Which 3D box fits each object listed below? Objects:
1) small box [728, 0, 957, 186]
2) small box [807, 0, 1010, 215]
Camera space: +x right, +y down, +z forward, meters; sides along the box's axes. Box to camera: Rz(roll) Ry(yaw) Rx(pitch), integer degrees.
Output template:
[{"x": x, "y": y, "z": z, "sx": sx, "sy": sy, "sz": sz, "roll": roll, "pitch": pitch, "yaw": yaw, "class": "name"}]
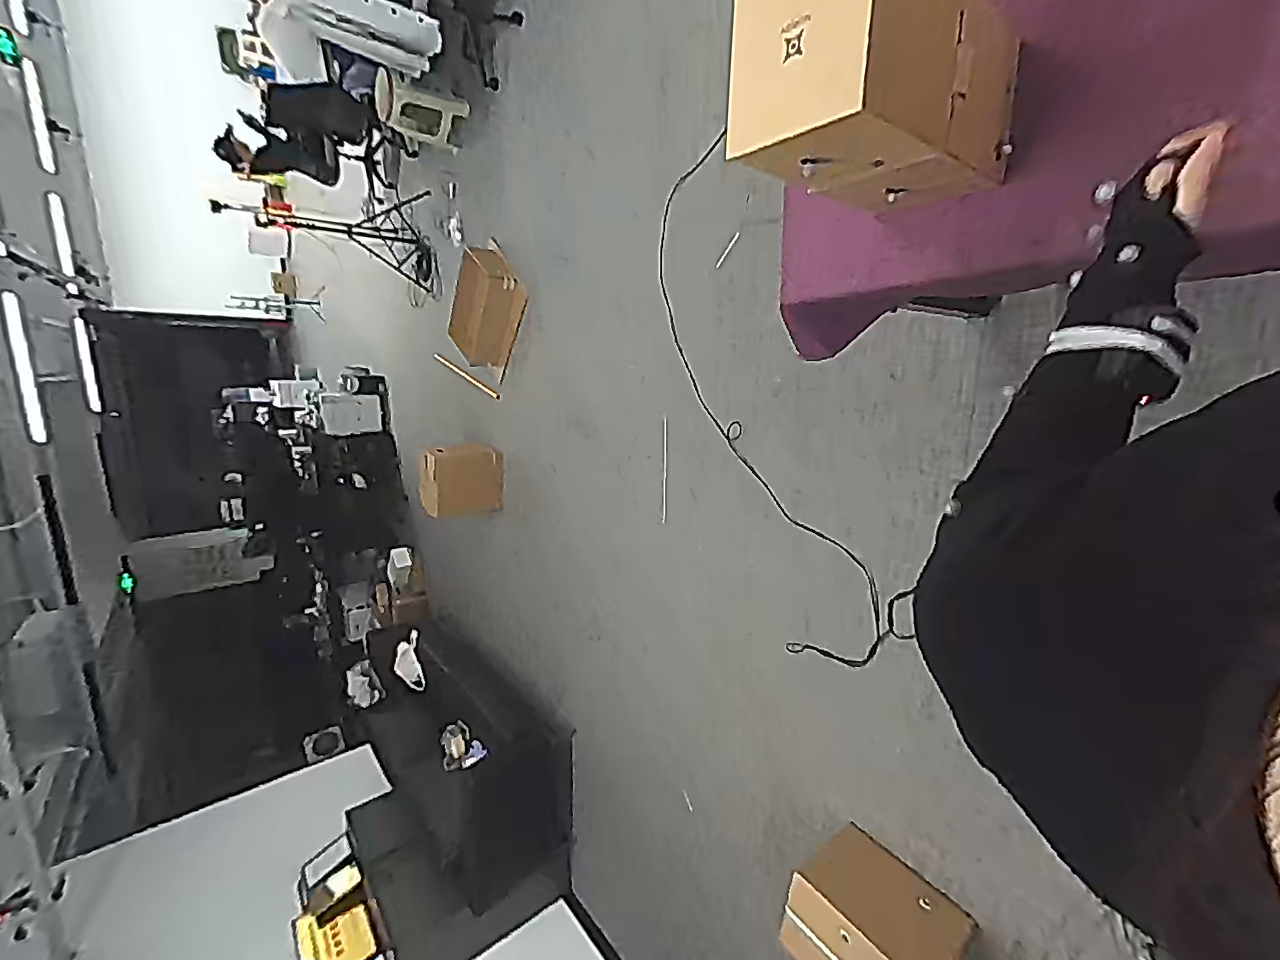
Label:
[{"x": 0.216, "y": -0.438, "z": 0.583, "sx": 0.168, "sy": 0.176, "sz": 0.179, "roll": 15, "pitch": 107, "yaw": 49, "class": "small box"}, {"x": 0.340, "y": -0.454, "z": 0.687, "sx": 0.179, "sy": 0.176, "sz": 0.168, "roll": 14, "pitch": 107, "yaw": 50, "class": "small box"}]
